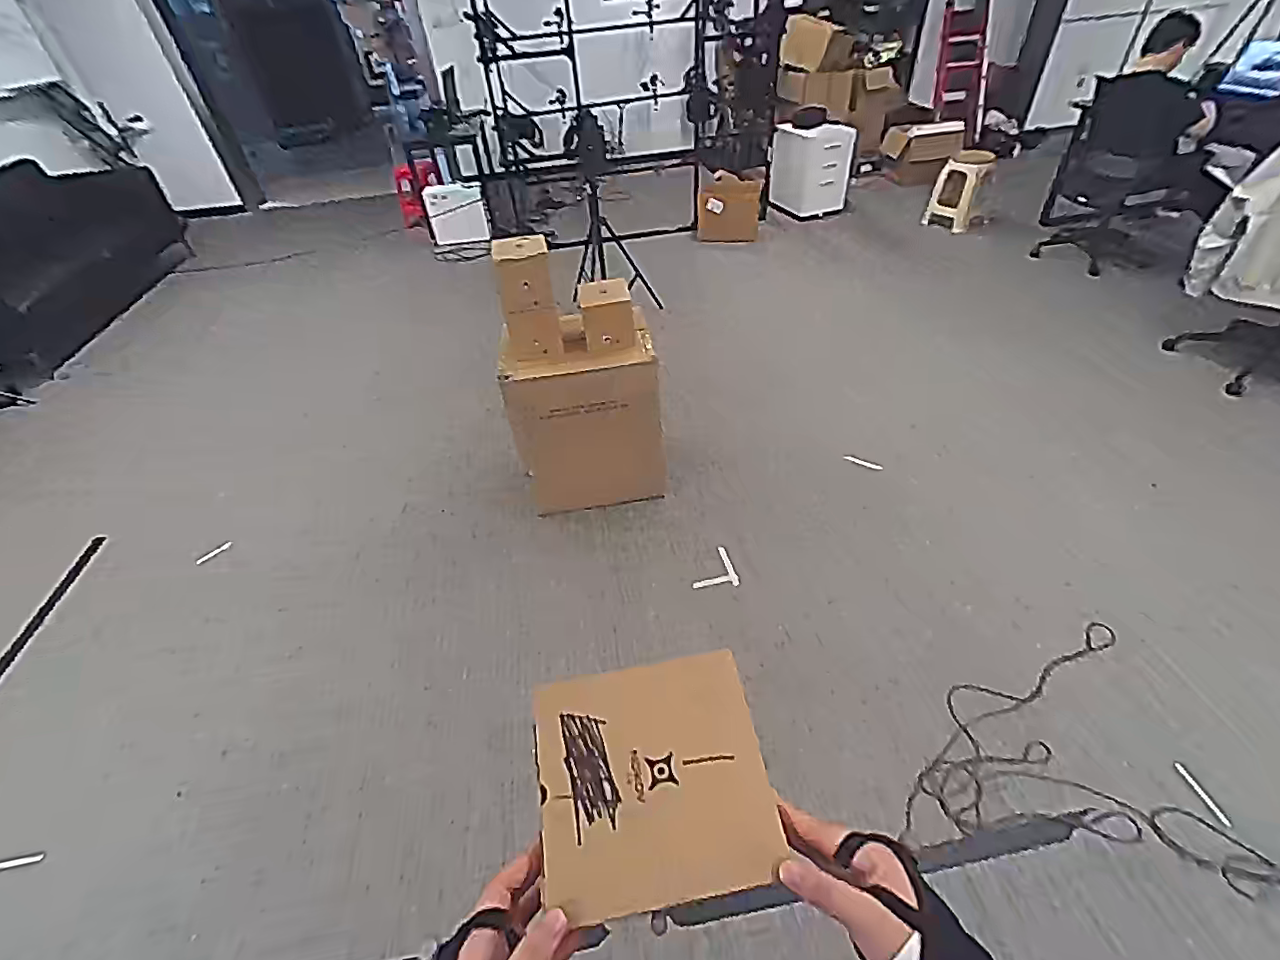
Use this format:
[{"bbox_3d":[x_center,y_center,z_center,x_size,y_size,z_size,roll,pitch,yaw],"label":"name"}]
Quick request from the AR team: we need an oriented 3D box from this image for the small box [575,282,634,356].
[{"bbox_3d":[-0.120,-0.543,1.825,0.168,0.176,0.179,-11,44,-3],"label":"small box"}]

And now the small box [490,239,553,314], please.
[{"bbox_3d":[-0.373,-0.635,1.706,0.168,0.176,0.179,-10,43,-7],"label":"small box"}]

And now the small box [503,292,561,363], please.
[{"bbox_3d":[-0.362,-0.513,1.815,0.168,0.176,0.179,-9,43,-6],"label":"small box"}]

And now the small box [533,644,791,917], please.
[{"bbox_3d":[0.011,0.268,0.479,0.179,0.176,0.168,-9,52,-5],"label":"small box"}]
